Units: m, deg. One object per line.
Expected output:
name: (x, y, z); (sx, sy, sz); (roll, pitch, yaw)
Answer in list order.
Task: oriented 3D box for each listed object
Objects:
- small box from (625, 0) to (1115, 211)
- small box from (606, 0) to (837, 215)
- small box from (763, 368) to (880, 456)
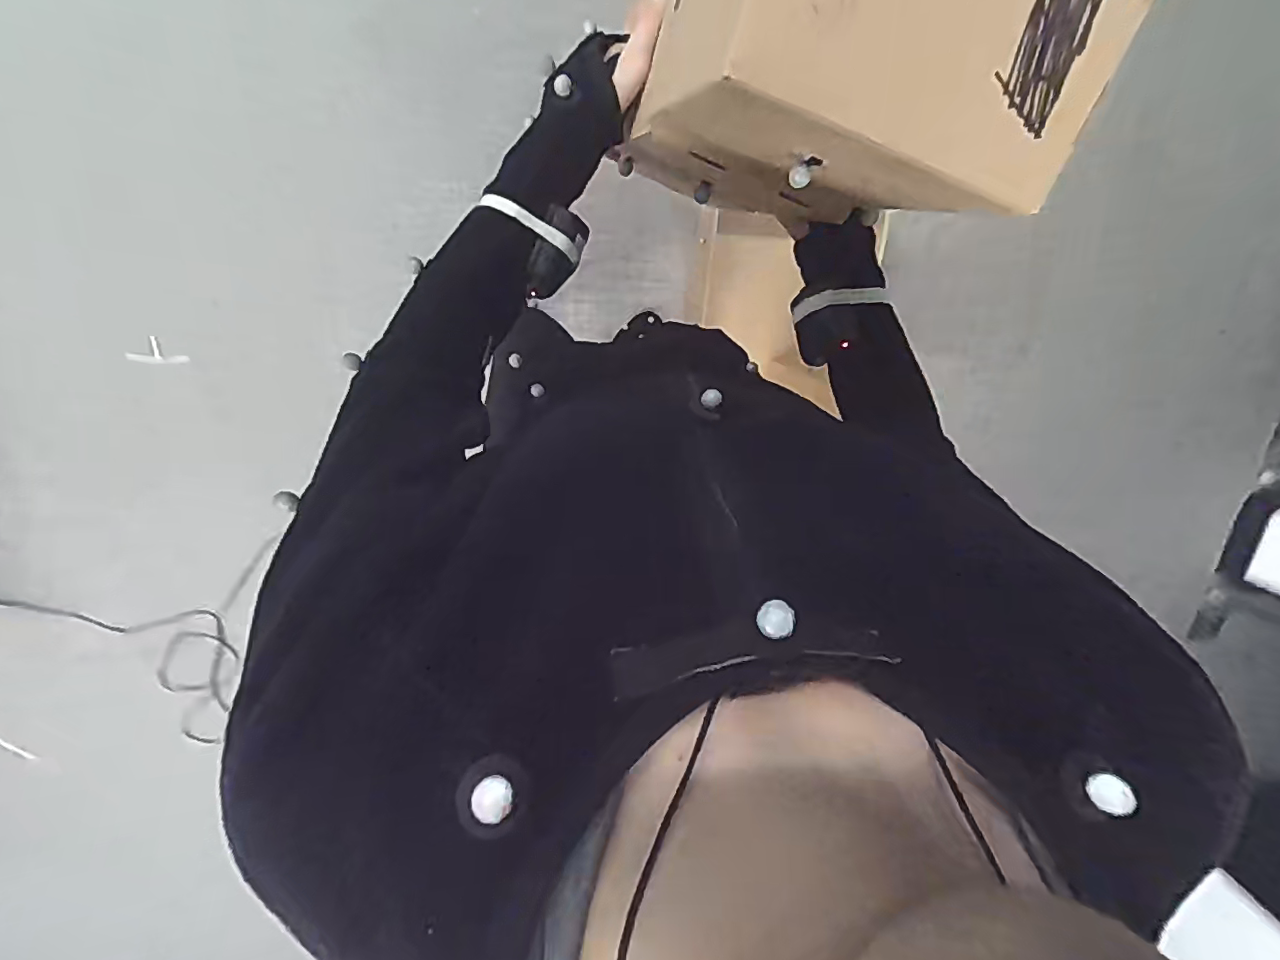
small box: (0.105, -0.254, 0.273); (0.179, 0.176, 0.168); (11, 115, -17)
small box: (0.079, -0.328, 0.418); (0.168, 0.176, 0.179); (13, 115, -18)
small box: (0.395, -0.141, 1.212); (0.168, 0.176, 0.179); (14, 108, -8)
